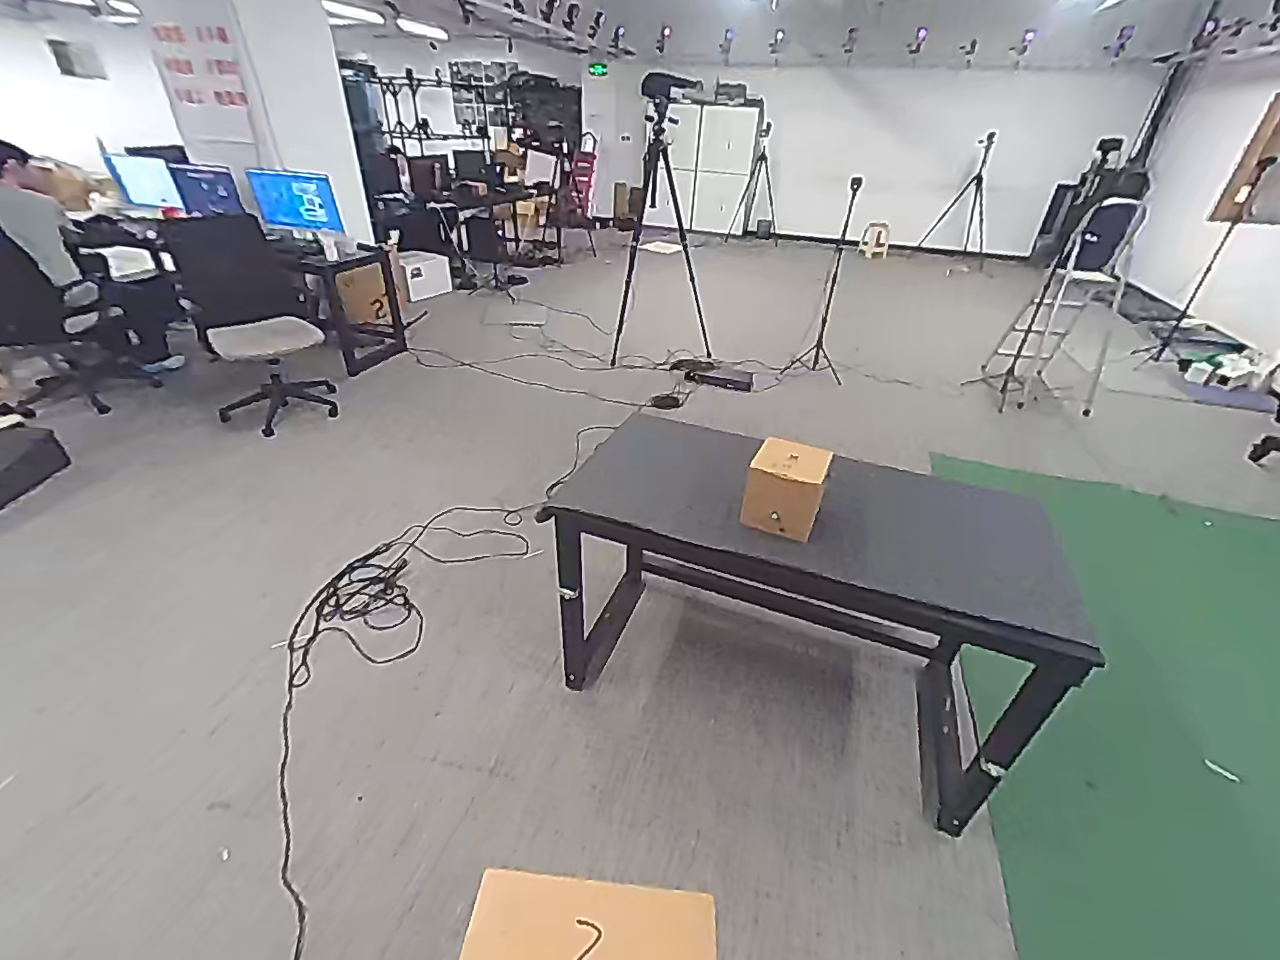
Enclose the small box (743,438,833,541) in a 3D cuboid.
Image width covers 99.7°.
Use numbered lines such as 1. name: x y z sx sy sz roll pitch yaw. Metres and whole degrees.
1. small box: 0.360 0.021 1.327 0.168 0.176 0.179 16 35 21
